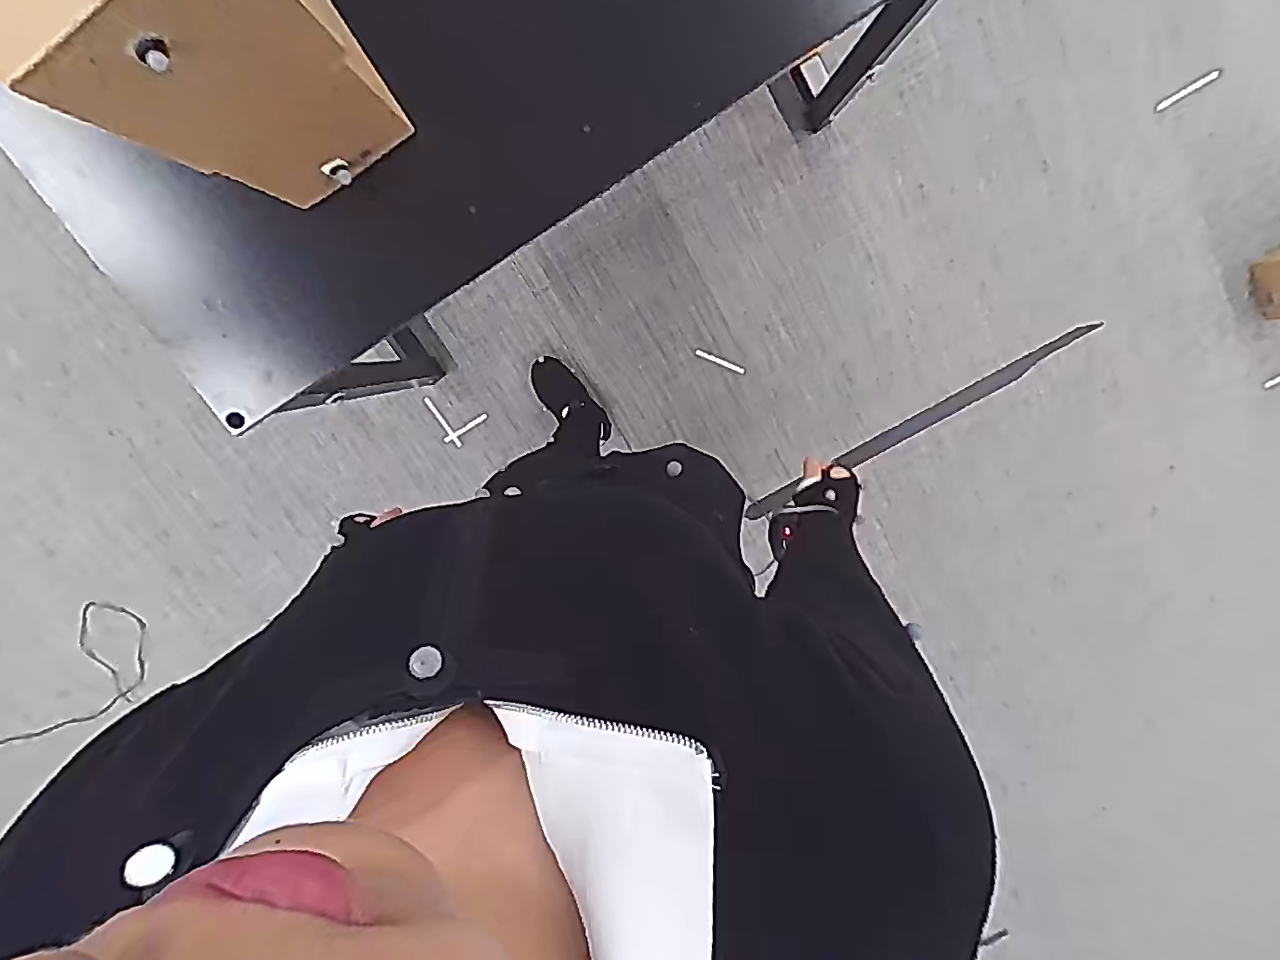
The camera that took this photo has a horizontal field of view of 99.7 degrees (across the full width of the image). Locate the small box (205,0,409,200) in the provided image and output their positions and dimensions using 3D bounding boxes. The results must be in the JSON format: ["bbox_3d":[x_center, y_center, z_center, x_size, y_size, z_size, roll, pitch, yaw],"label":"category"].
[{"bbox_3d":[-0.380,-0.426,0.554,0.168,0.176,0.179,-32,103,7],"label":"small box"}]

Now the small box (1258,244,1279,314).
[{"bbox_3d":[1.680,-0.519,1.316,0.179,0.176,0.168,-30,103,7],"label":"small box"}]

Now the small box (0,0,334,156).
[{"bbox_3d":[-0.375,-0.381,0.395,0.179,0.176,0.168,-34,102,7],"label":"small box"}]
